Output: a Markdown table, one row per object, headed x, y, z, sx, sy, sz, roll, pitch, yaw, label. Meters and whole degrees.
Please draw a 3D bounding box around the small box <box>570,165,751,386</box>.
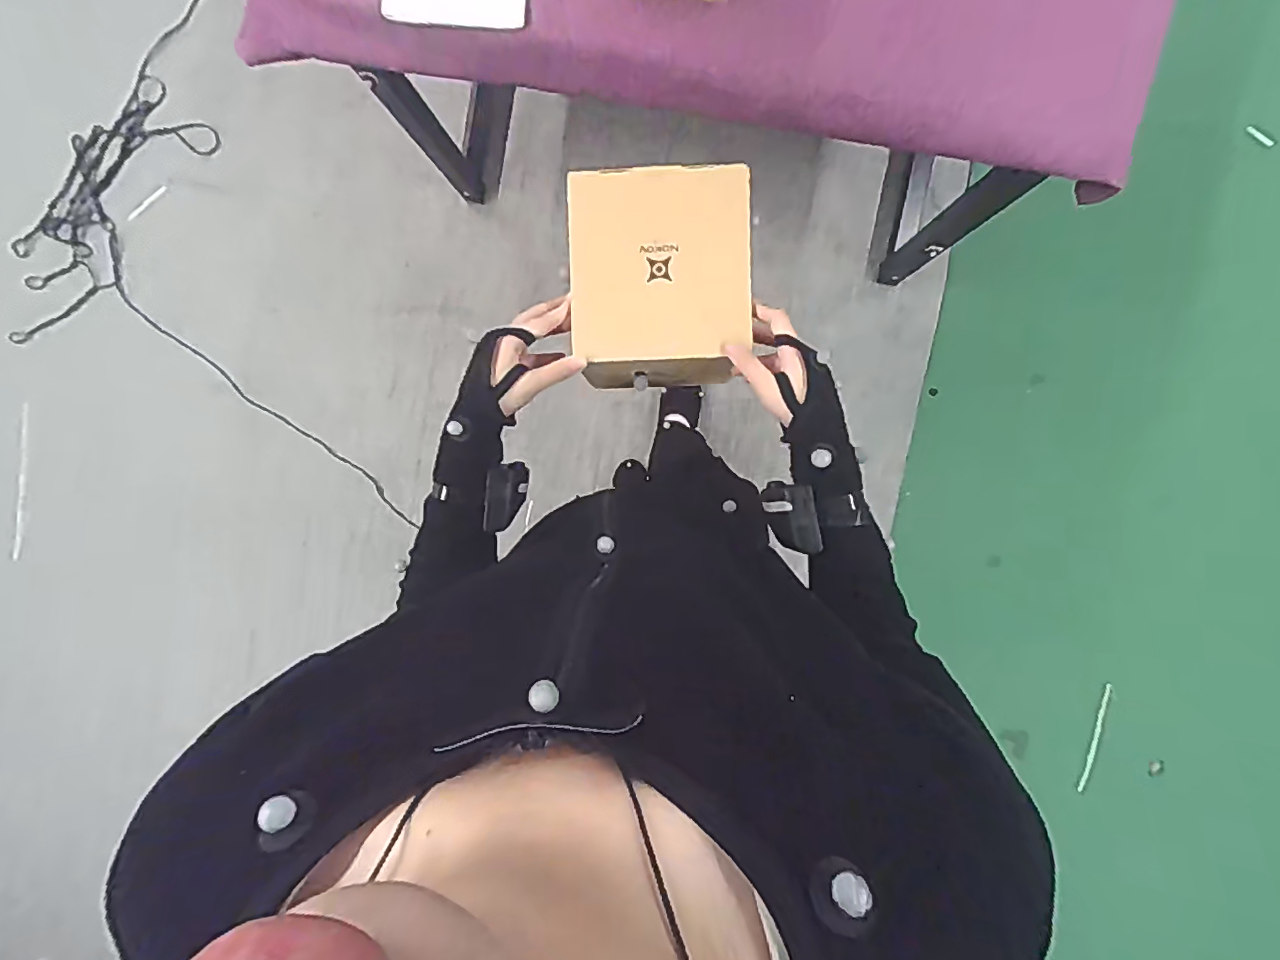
| x | y | z | sx | sy | sz | roll | pitch | yaw | label |
| --- | --- | --- | --- | --- | --- | --- | --- | --- | --- |
| 0.021 | -0.197 | 0.571 | 0.168 | 0.176 | 0.179 | -2 | 90 | 1 | small box |
